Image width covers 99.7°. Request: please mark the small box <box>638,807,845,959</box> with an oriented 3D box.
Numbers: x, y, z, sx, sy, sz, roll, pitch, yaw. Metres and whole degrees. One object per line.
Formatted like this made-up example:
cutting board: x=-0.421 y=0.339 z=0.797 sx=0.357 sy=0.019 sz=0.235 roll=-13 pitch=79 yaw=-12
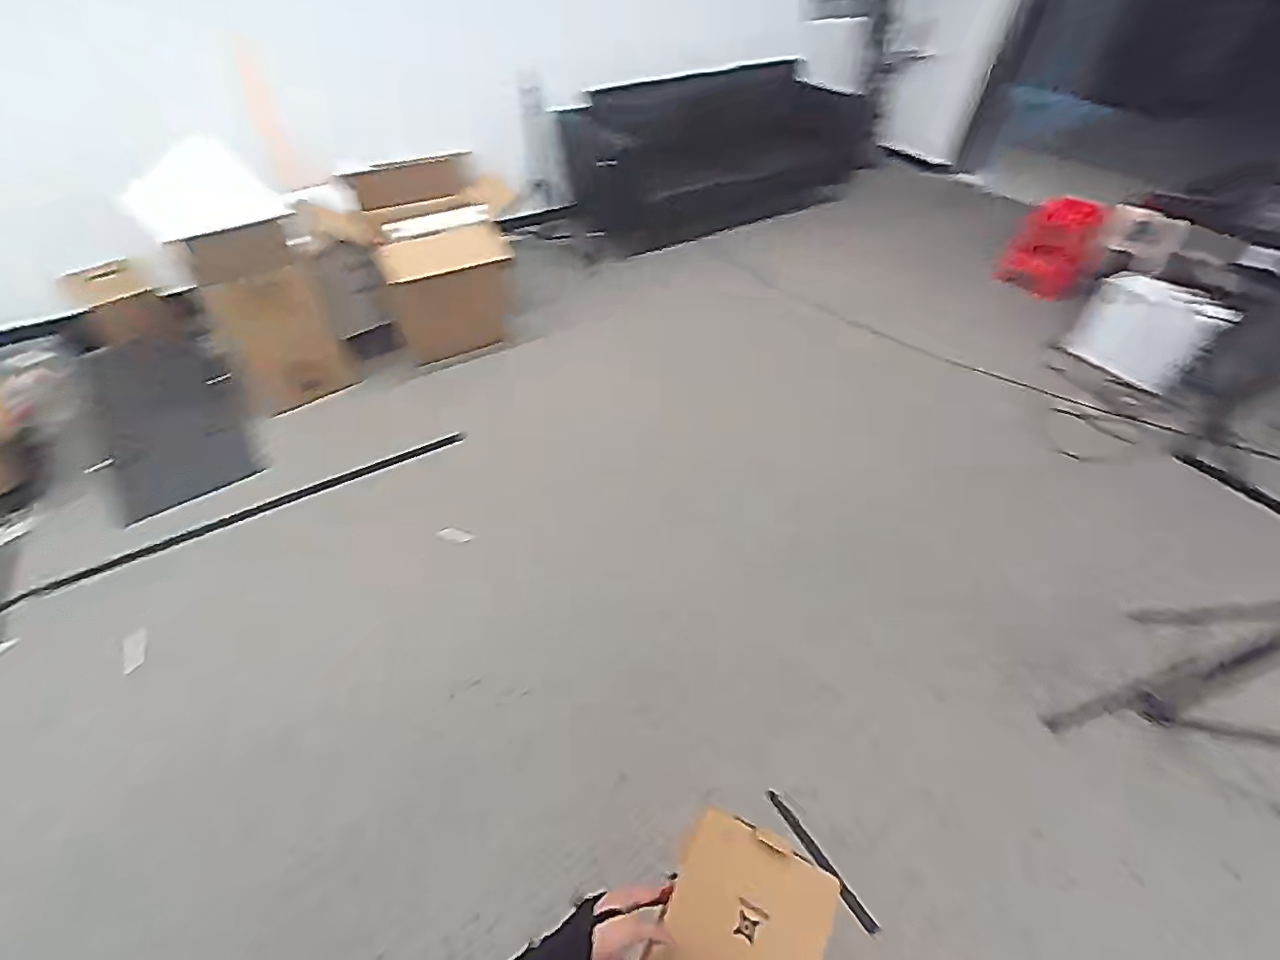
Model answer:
small box: x=0.108 y=0.521 z=0.620 sx=0.168 sy=0.176 sz=0.179 roll=25 pitch=49 yaw=13
